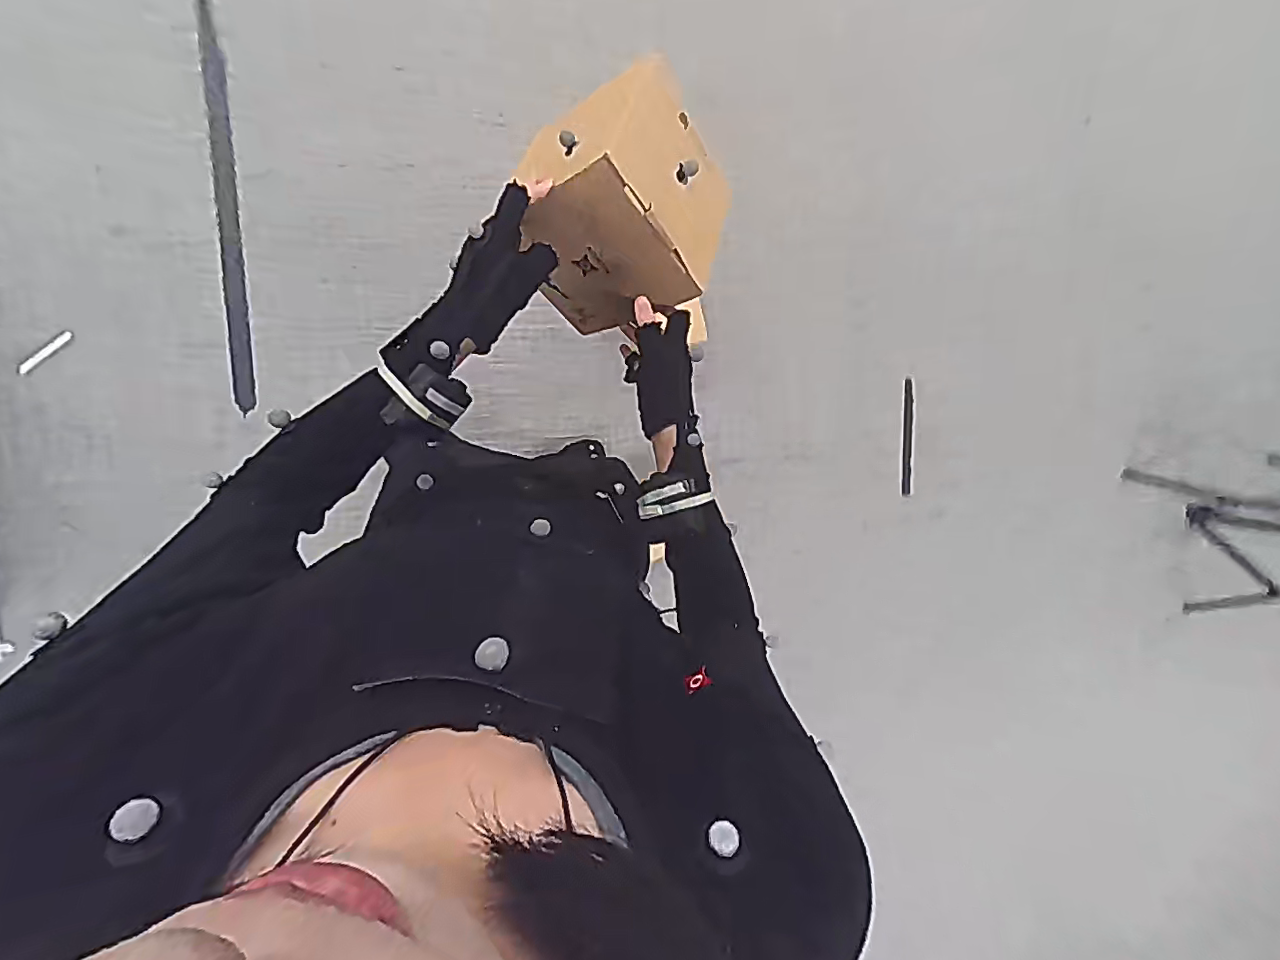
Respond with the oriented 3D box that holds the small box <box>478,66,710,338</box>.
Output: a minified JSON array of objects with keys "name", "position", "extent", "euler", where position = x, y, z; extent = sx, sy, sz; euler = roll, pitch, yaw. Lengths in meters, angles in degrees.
[{"name":"small box","position":[-0.038,-0.292,0.589],"extent":[0.168,0.179,0.176],"euler":[40,54,-39]}]

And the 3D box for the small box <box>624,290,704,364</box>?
[{"name":"small box","position":[0.055,-0.409,1.426],"extent":[0.168,0.176,0.179],"euler":[-15,98,-9]}]

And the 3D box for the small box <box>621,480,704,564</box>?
[{"name":"small box","position":[0.055,0.106,1.486],"extent":[0.168,0.176,0.179],"euler":[-20,100,-7]}]
